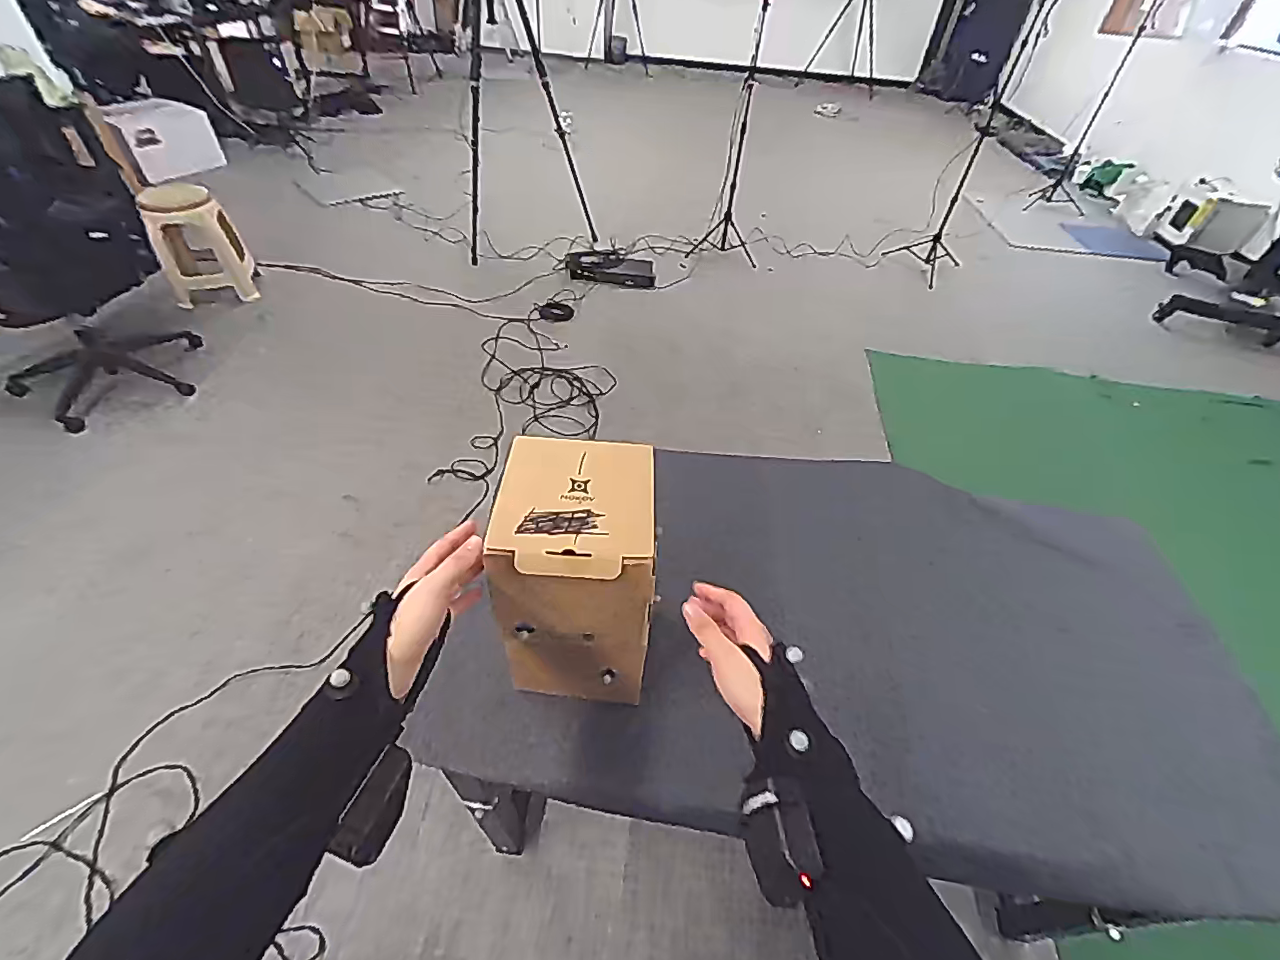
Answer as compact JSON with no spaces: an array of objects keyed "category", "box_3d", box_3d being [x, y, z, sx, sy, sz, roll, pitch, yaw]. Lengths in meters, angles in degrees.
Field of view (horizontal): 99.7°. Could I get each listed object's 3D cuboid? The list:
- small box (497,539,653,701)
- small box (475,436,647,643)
[{"category":"small box","box_3d":[-0.080,0.187,0.747,0.179,0.176,0.168,6,44,2]},{"category":"small box","box_3d":[-0.080,0.071,0.629,0.168,0.176,0.179,4,43,-2]}]
